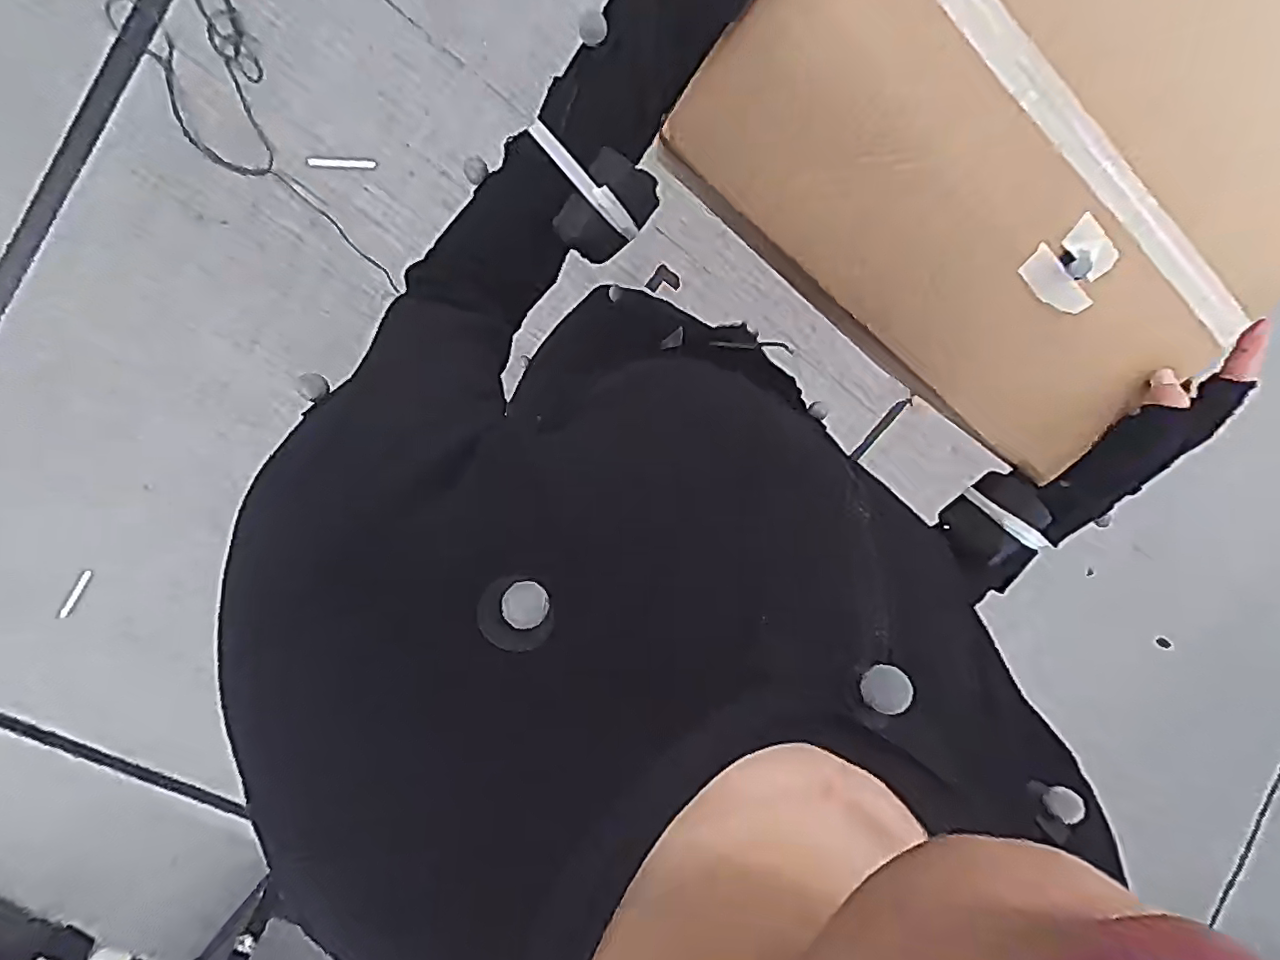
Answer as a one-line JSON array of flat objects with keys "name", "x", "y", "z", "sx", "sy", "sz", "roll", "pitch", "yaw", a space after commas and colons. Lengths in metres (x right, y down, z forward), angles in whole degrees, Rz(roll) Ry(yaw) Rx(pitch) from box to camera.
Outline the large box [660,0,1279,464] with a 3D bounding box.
[{"name": "large box", "x": 0.266, "y": -0.293, "z": 0.475, "sx": 0.408, "sy": 0.320, "sz": 0.320, "roll": 35, "pitch": 114, "yaw": -17}]
